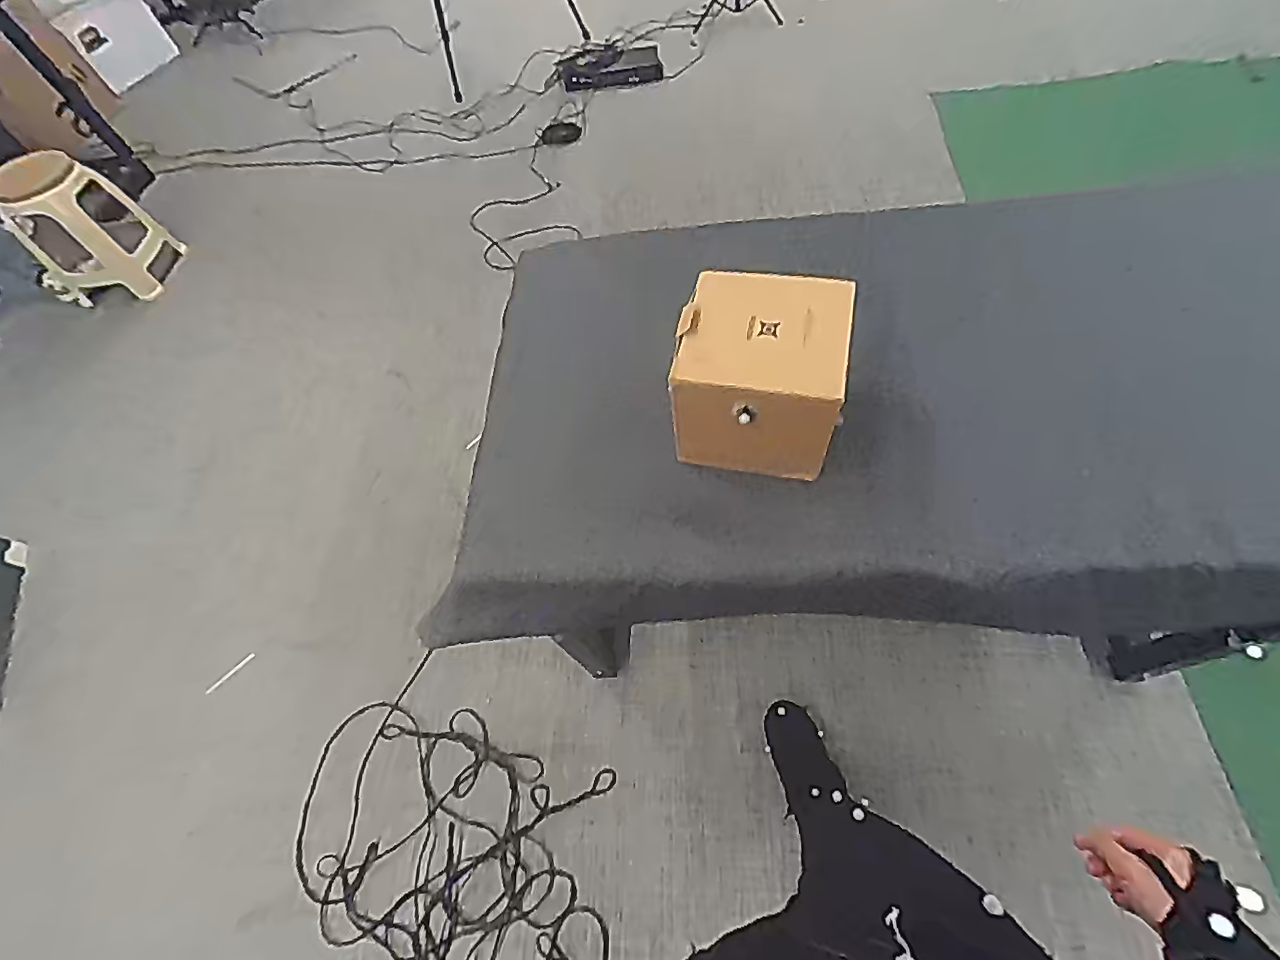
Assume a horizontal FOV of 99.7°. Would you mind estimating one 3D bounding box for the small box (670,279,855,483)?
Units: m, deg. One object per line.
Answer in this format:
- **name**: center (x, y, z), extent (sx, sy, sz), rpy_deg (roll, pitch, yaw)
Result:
- **small box**: center (0.143, -0.112, 0.644), extent (0.179, 0.176, 0.168), rpy_deg (10, 62, 13)
